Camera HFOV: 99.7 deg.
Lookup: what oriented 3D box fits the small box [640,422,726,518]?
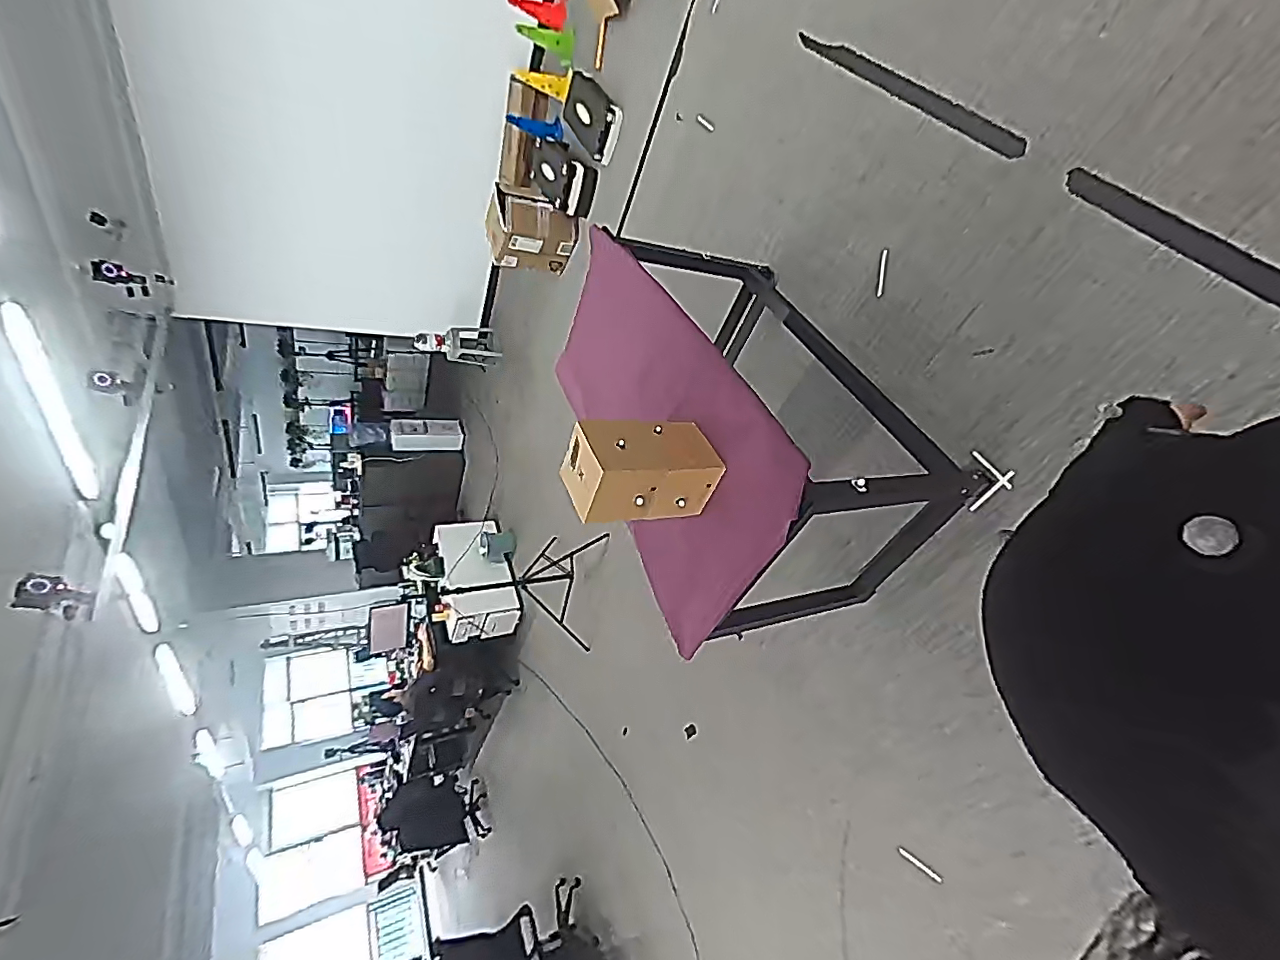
[{"bbox_3d":[0.083,-0.029,1.332,0.179,0.176,0.168,61,140,38],"label":"small box"}]

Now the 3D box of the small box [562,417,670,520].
[{"bbox_3d":[-0.058,-0.026,1.246,0.179,0.176,0.168,60,141,37],"label":"small box"}]
